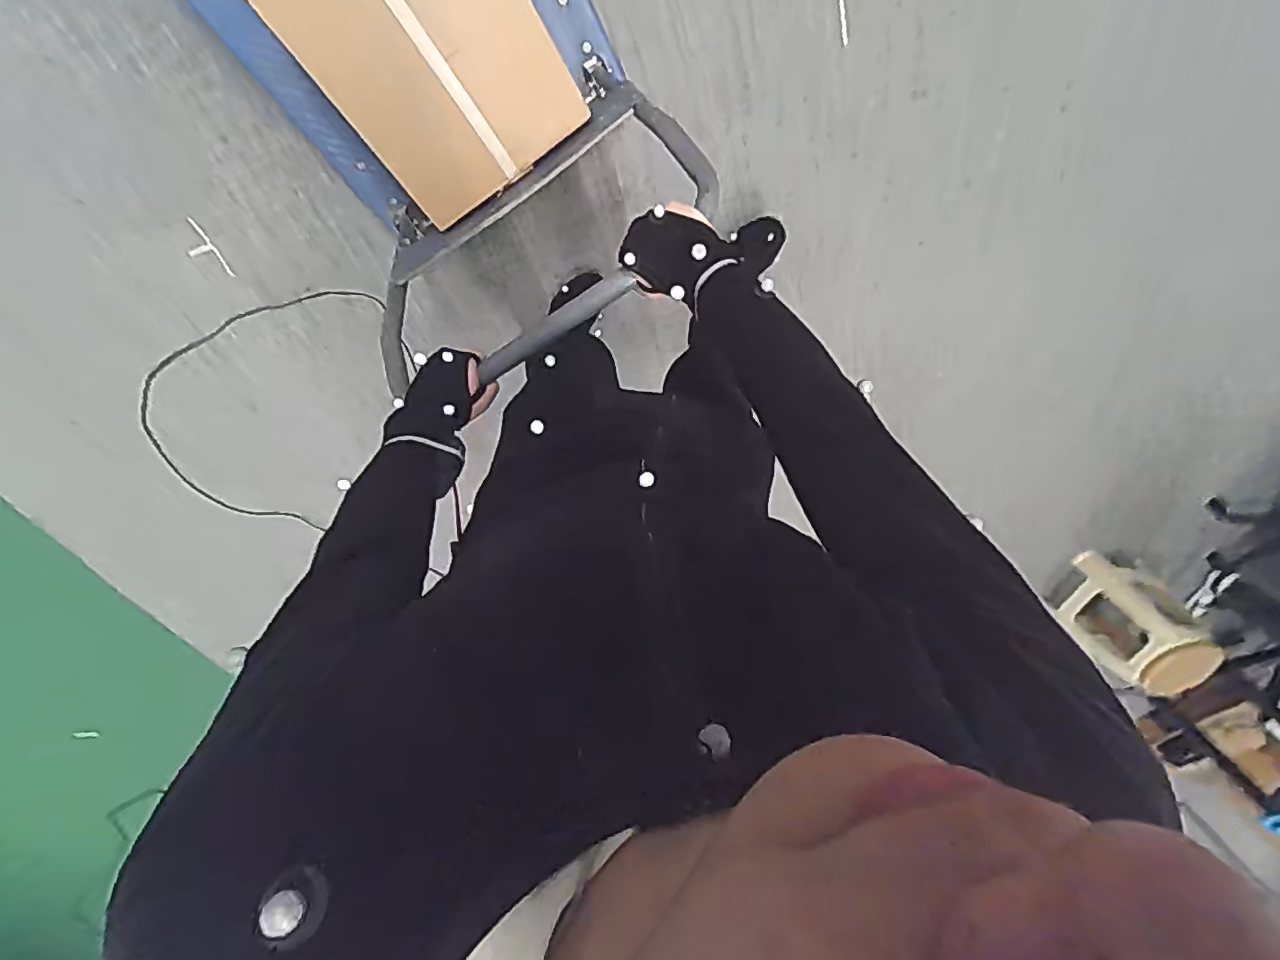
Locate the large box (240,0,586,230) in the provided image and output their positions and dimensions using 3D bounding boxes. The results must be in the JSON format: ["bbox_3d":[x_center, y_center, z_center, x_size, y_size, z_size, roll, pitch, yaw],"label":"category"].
[{"bbox_3d":[-0.338,-0.704,0.868,0.320,0.320,0.408,-32,130,11],"label":"large box"}]
